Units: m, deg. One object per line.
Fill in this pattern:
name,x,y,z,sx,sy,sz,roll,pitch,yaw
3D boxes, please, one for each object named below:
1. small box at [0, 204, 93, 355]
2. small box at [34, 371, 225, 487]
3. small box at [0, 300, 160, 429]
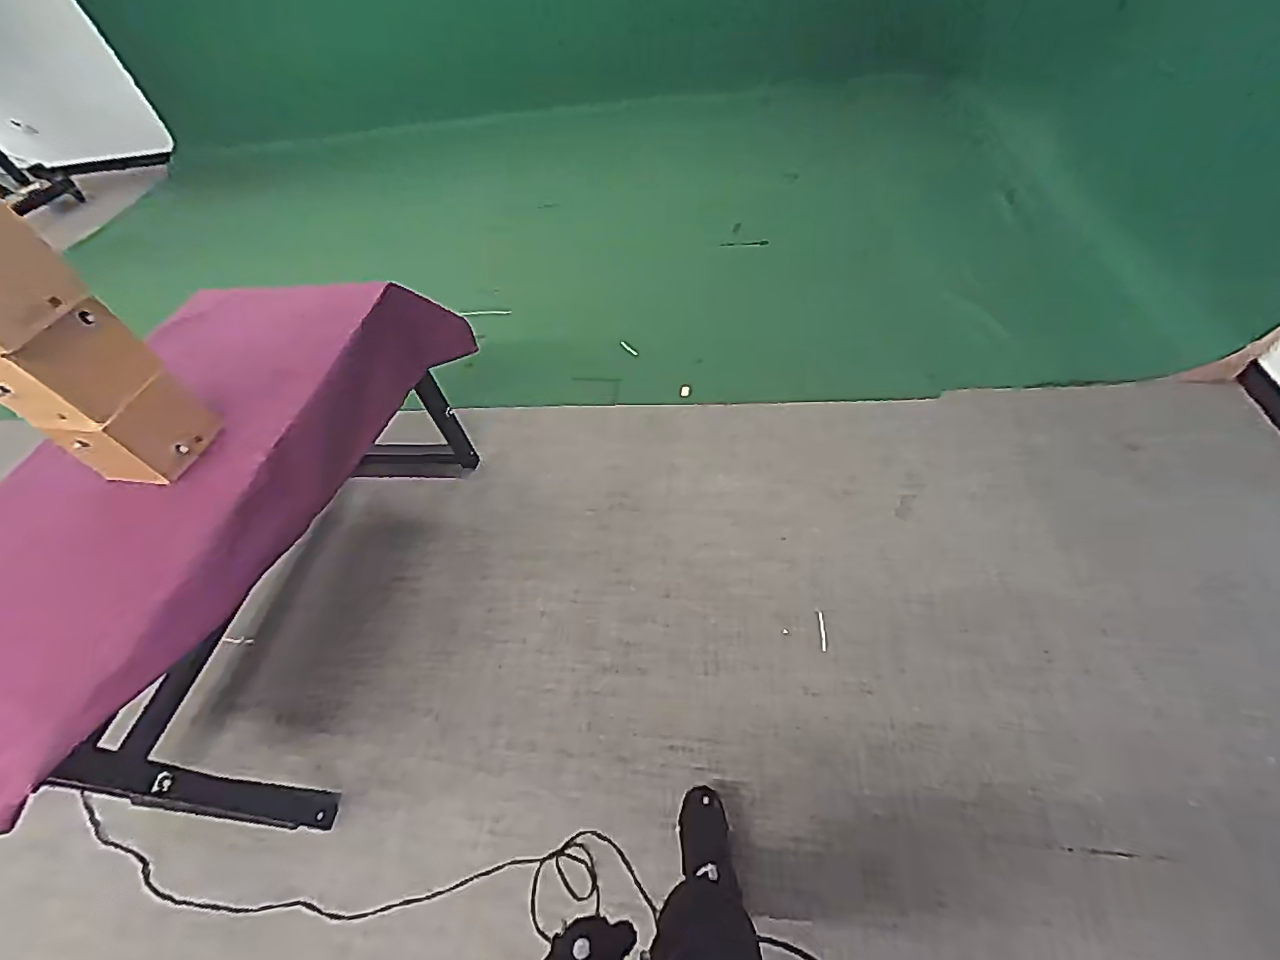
small box,-1.019,-0.304,0.817,0.179,0.176,0.168,5,54,15
small box,-0.996,-0.102,1.072,0.179,0.176,0.168,5,54,13
small box,-1.018,-0.205,0.950,0.168,0.176,0.179,3,54,12
